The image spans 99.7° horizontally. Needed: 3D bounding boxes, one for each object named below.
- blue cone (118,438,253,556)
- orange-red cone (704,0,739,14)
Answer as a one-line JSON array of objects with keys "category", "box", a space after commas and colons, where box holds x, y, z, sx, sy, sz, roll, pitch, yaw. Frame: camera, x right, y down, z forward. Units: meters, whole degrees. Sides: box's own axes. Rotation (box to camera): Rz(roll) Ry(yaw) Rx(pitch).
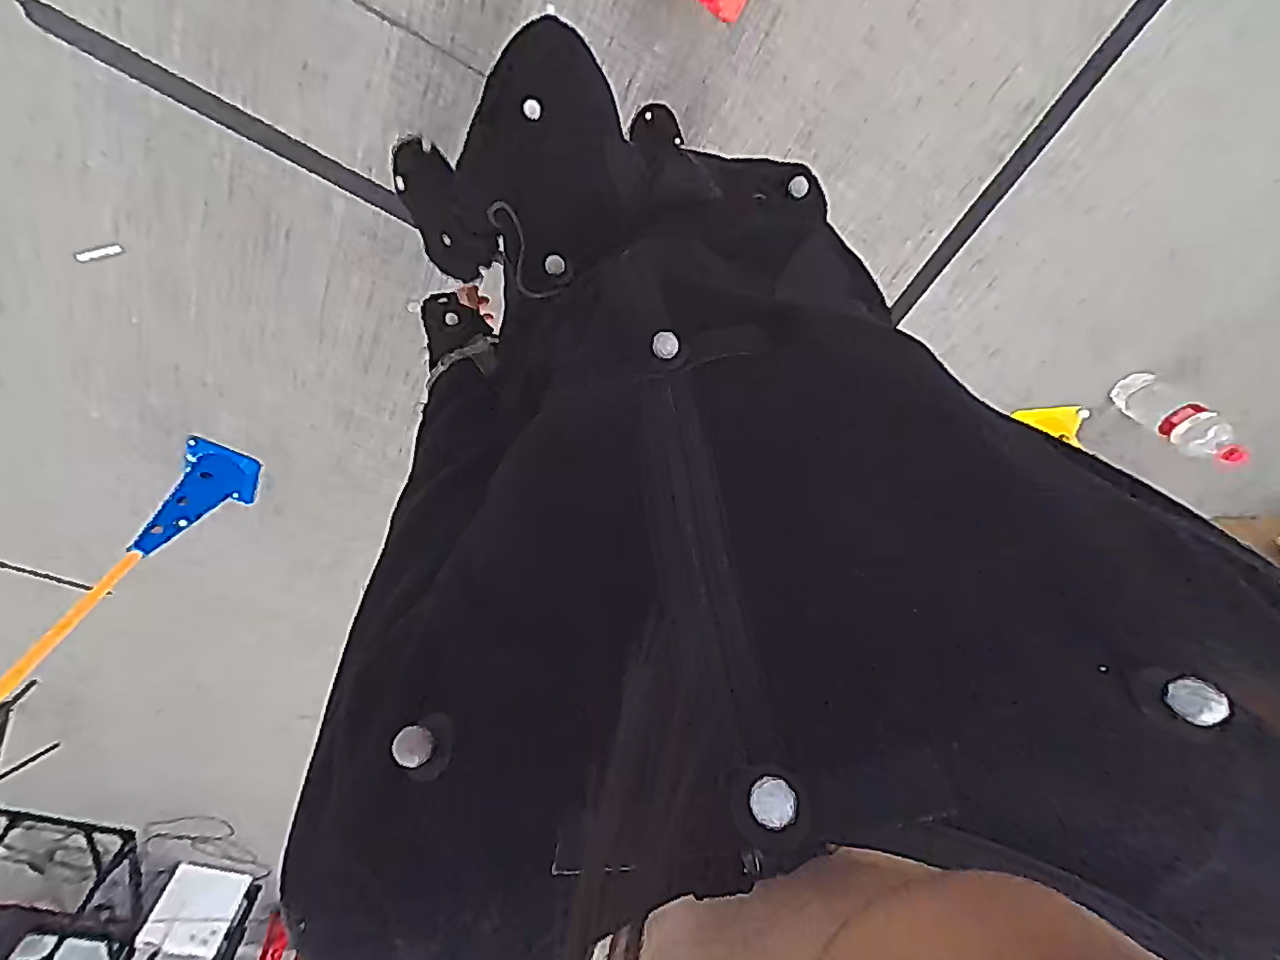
[{"category": "blue cone", "box": [-1.289, 0.072, 1.516, 0.192, 0.380, 0.193, 27, 122, -18]}, {"category": "orange-red cone", "box": [0.131, -0.851, 0.782, 0.199, 0.360, 0.198, 26, 123, -19]}]
